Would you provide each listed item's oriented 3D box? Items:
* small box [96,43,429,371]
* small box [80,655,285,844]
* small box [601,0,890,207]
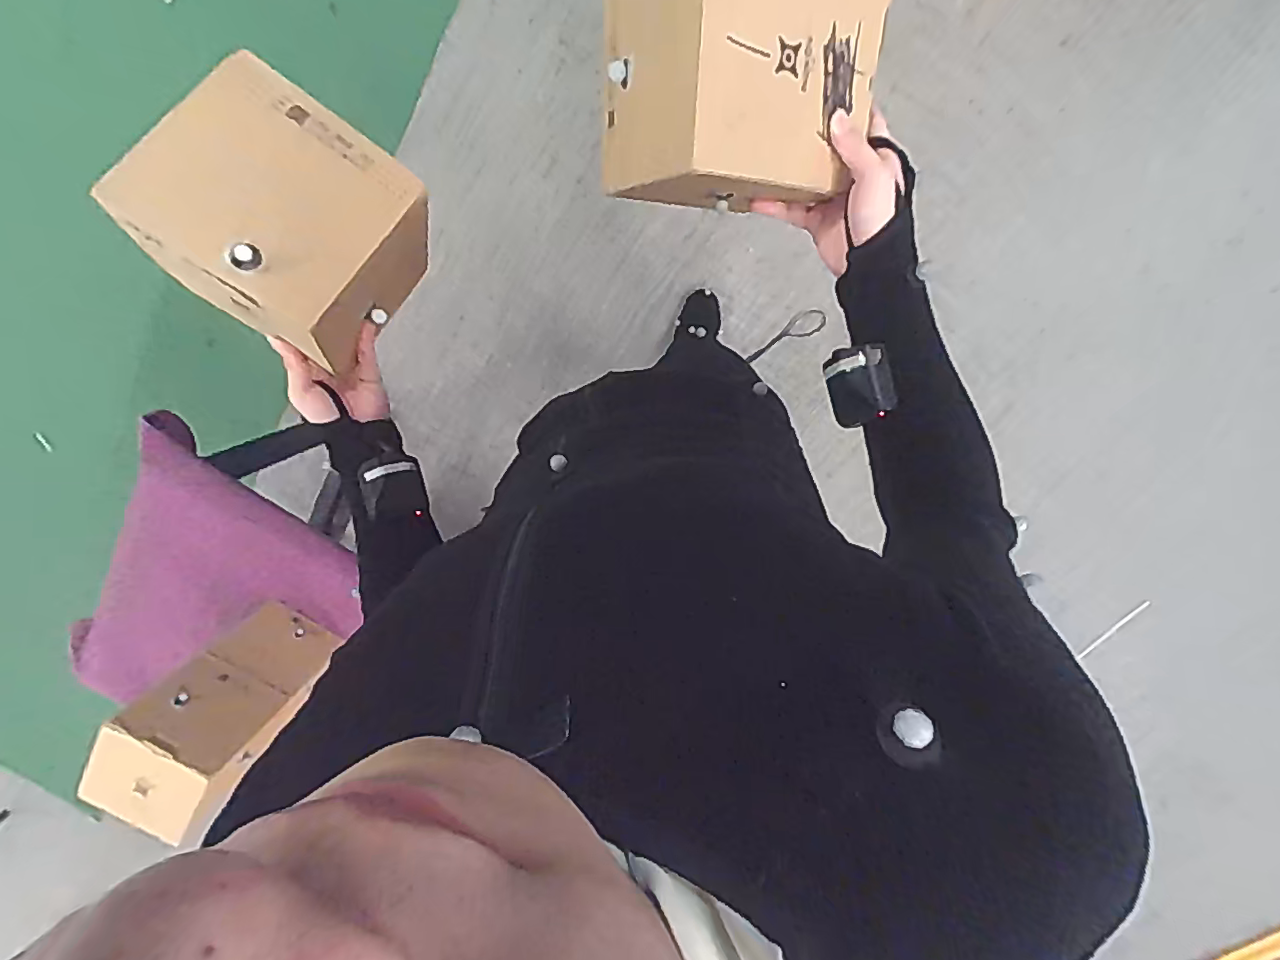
[{"bbox_3d":[-0.316,-0.235,0.505,0.168,0.179,0.176,34,75,-15],"label":"small box"},{"bbox_3d":[-0.714,0.418,0.862,0.168,0.176,0.179,33,109,-5],"label":"small box"},{"bbox_3d":[0.080,-0.342,0.471,0.179,0.176,0.168,-7,112,-25],"label":"small box"}]
